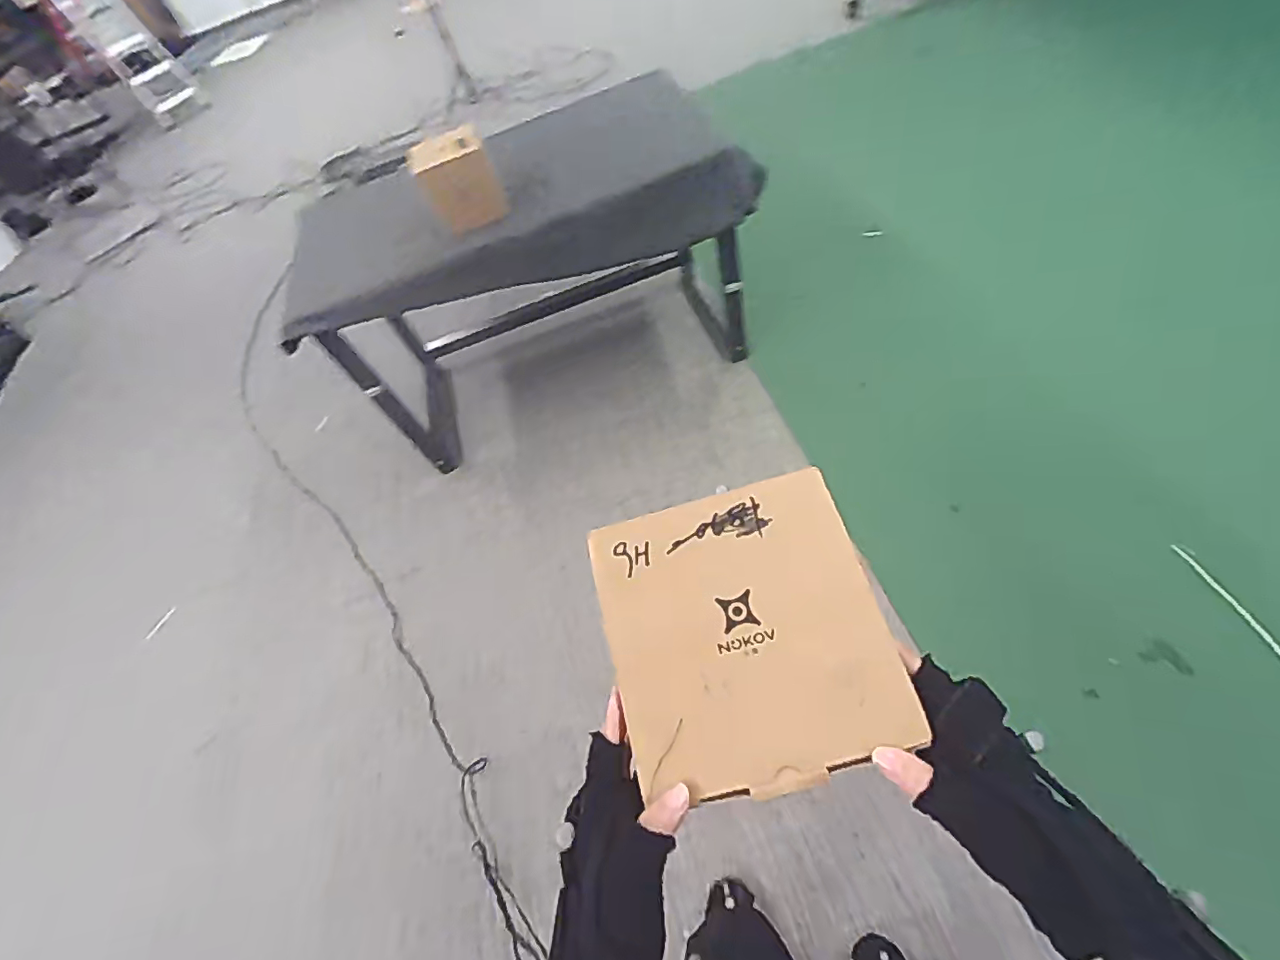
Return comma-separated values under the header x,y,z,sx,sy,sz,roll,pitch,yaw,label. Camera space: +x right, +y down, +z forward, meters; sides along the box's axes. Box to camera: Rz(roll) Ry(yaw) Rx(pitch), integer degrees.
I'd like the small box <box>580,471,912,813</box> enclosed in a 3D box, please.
x,y,z,sx,sy,sz,roll,pitch,yaw,label
0.068,0.120,0.410,0.168,0.176,0.179,-16,67,2,small box

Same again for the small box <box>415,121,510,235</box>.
x,y,z,sx,sy,sz,roll,pitch,yaw,label
-0.441,-0.759,1.367,0.179,0.176,0.168,-21,54,1,small box
